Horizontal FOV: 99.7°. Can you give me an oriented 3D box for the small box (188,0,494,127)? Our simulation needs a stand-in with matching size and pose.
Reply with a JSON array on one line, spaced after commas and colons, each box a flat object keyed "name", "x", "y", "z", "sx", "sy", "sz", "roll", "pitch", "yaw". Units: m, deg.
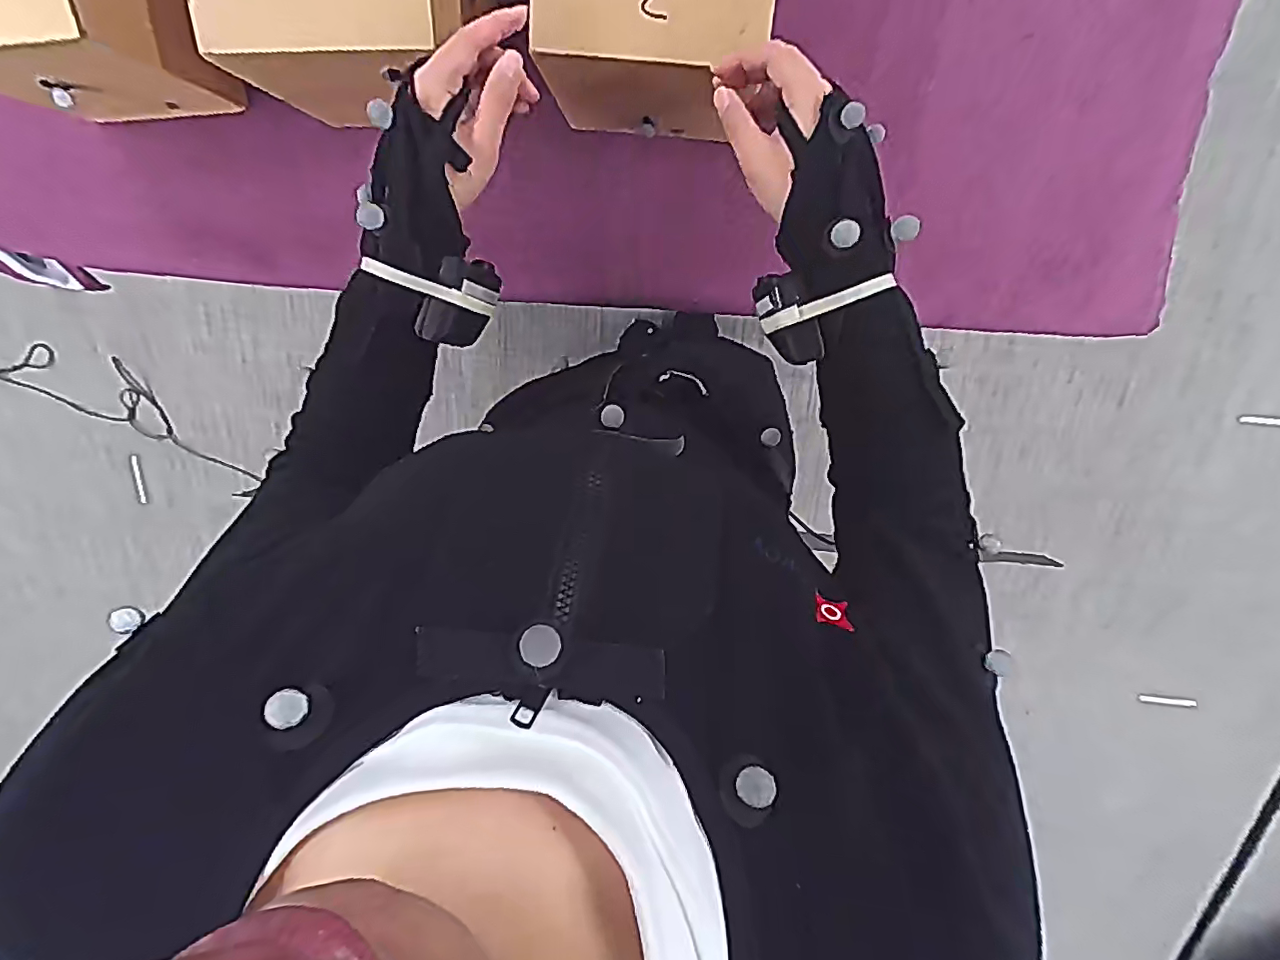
[{"name": "small box", "x": -0.224, "y": -0.403, "z": 0.432, "sx": 0.179, "sy": 0.176, "sz": 0.168, "roll": 0, "pitch": 107, "yaw": 2}]

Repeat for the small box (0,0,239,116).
[{"name": "small box", "x": -0.479, "y": -0.422, "z": 0.443, "sx": 0.168, "sy": 0.176, "sz": 0.179, "roll": -2, "pitch": 107, "yaw": 4}]
